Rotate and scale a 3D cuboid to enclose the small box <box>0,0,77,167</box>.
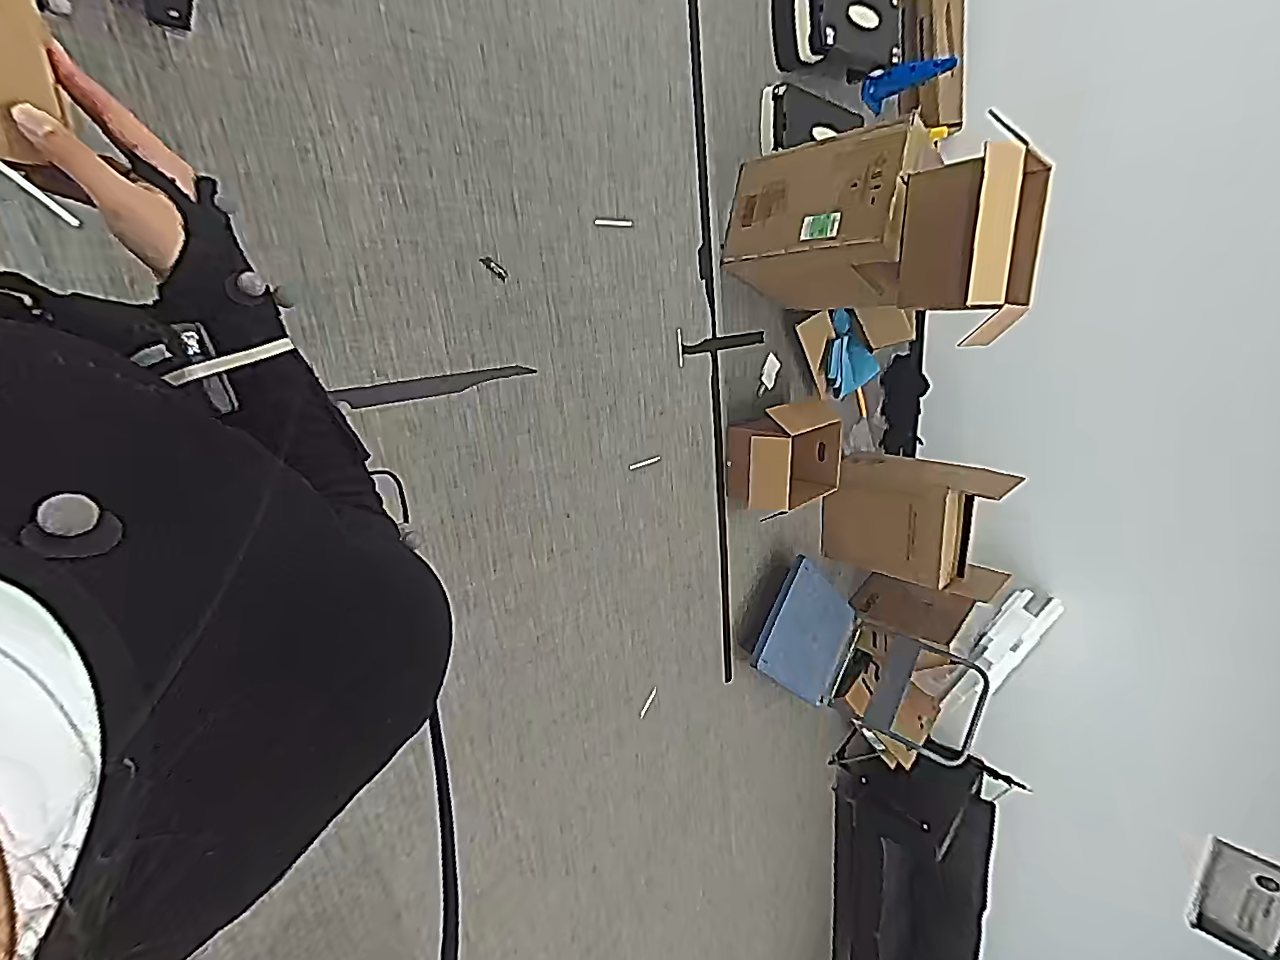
[{"bbox_3d":[-0.419,-0.275,0.261,0.179,0.176,0.168,-13,131,-40],"label":"small box"}]
